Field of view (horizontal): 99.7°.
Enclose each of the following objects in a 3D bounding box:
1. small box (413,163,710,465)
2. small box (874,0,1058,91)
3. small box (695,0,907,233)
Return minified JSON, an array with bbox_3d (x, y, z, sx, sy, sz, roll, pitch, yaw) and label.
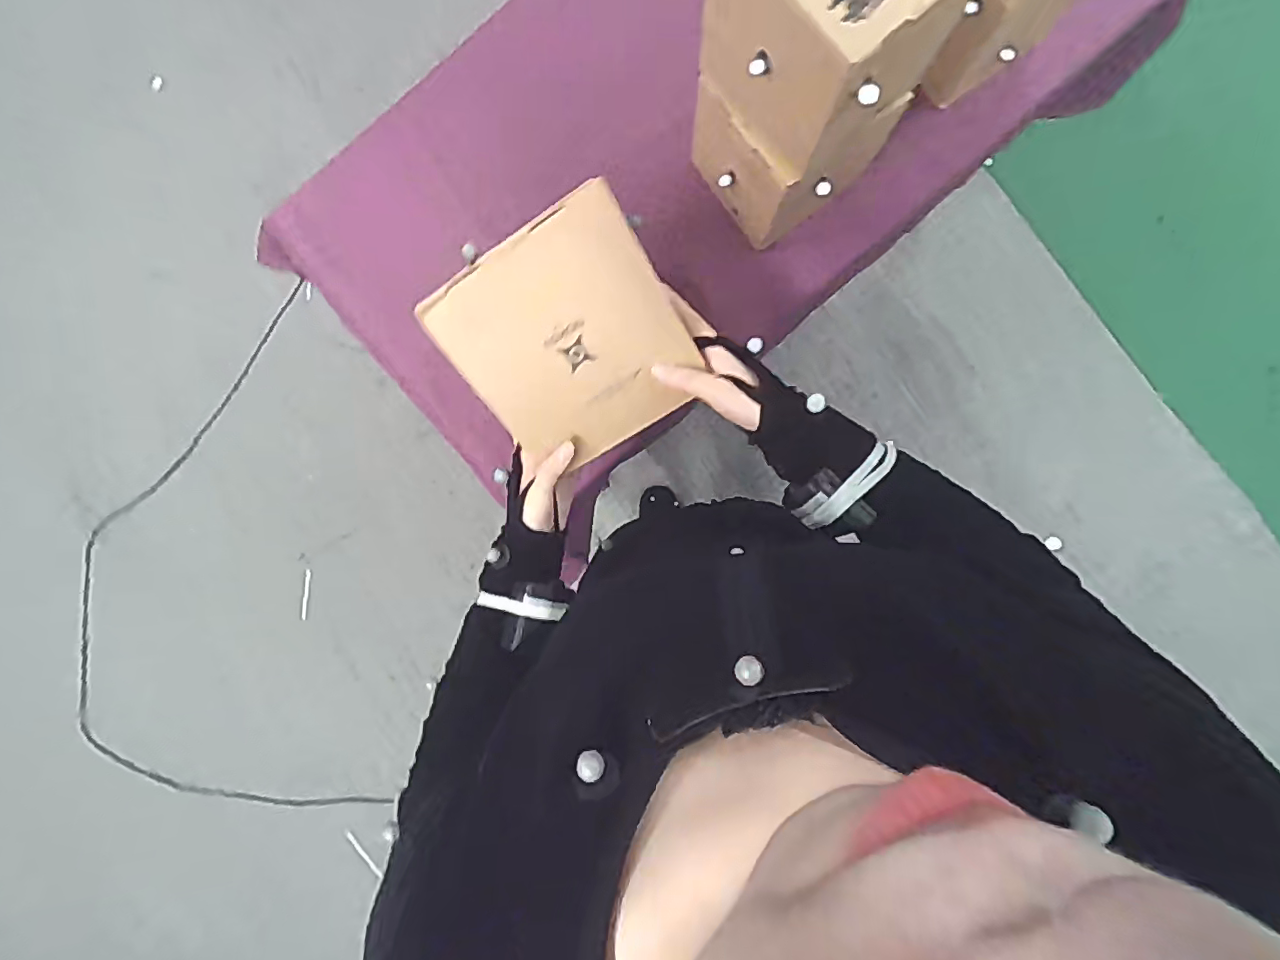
[{"bbox_3d":[-0.062,-0.151,0.483,0.168,0.176,0.179,-29,120,11],"label":"small box"},{"bbox_3d":[0.426,-0.645,0.668,0.168,0.176,0.179,-35,90,2],"label":"small box"},{"bbox_3d":[0.183,-0.451,0.677,0.179,0.176,0.168,-36,89,3],"label":"small box"}]
